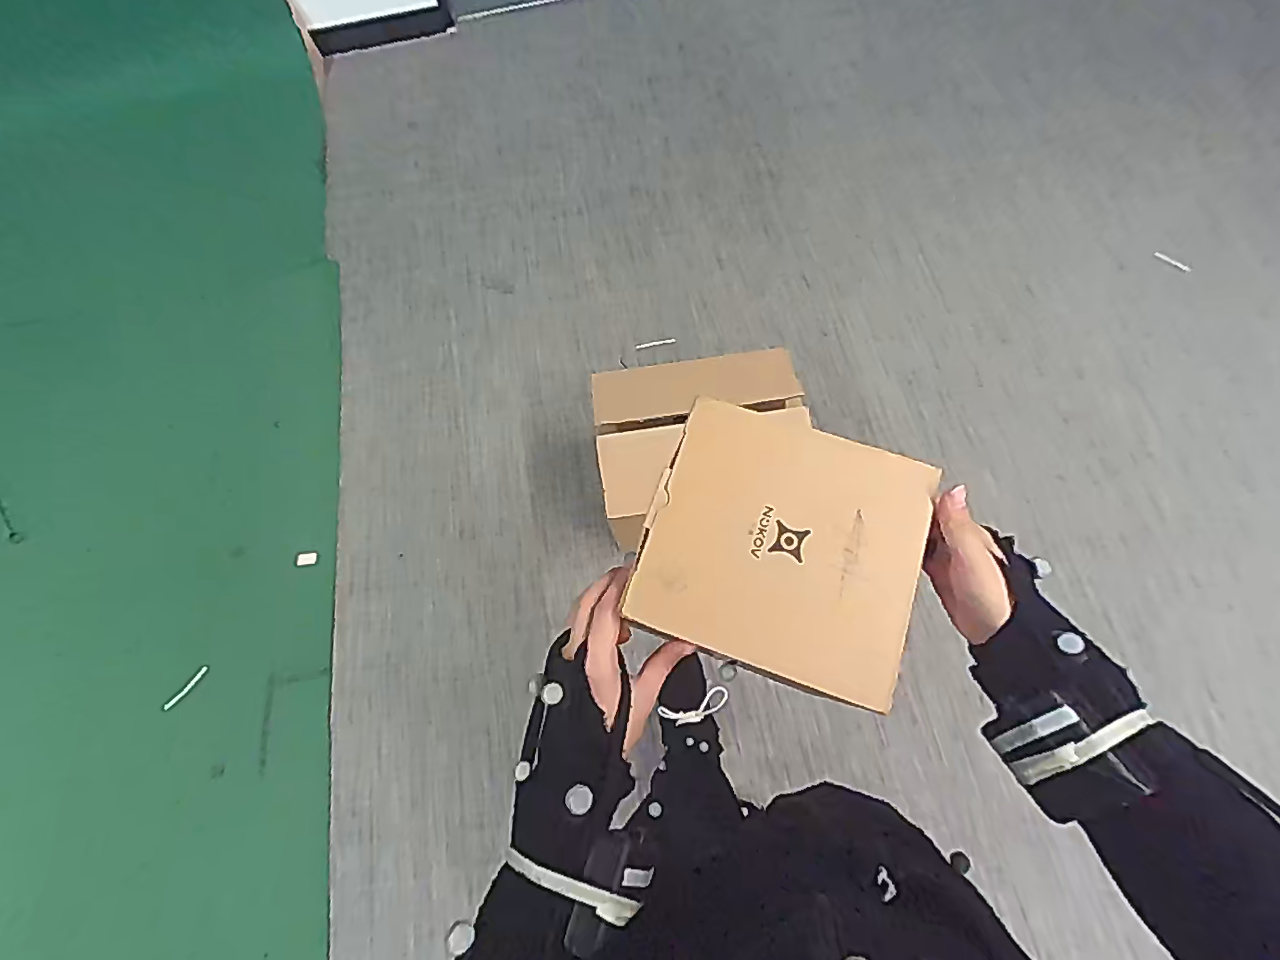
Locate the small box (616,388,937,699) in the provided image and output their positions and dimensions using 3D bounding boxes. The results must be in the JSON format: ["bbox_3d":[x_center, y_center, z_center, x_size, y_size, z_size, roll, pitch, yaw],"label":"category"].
[{"bbox_3d":[0.094,0.056,0.430,0.179,0.176,0.168,19,75,6],"label":"small box"}]
